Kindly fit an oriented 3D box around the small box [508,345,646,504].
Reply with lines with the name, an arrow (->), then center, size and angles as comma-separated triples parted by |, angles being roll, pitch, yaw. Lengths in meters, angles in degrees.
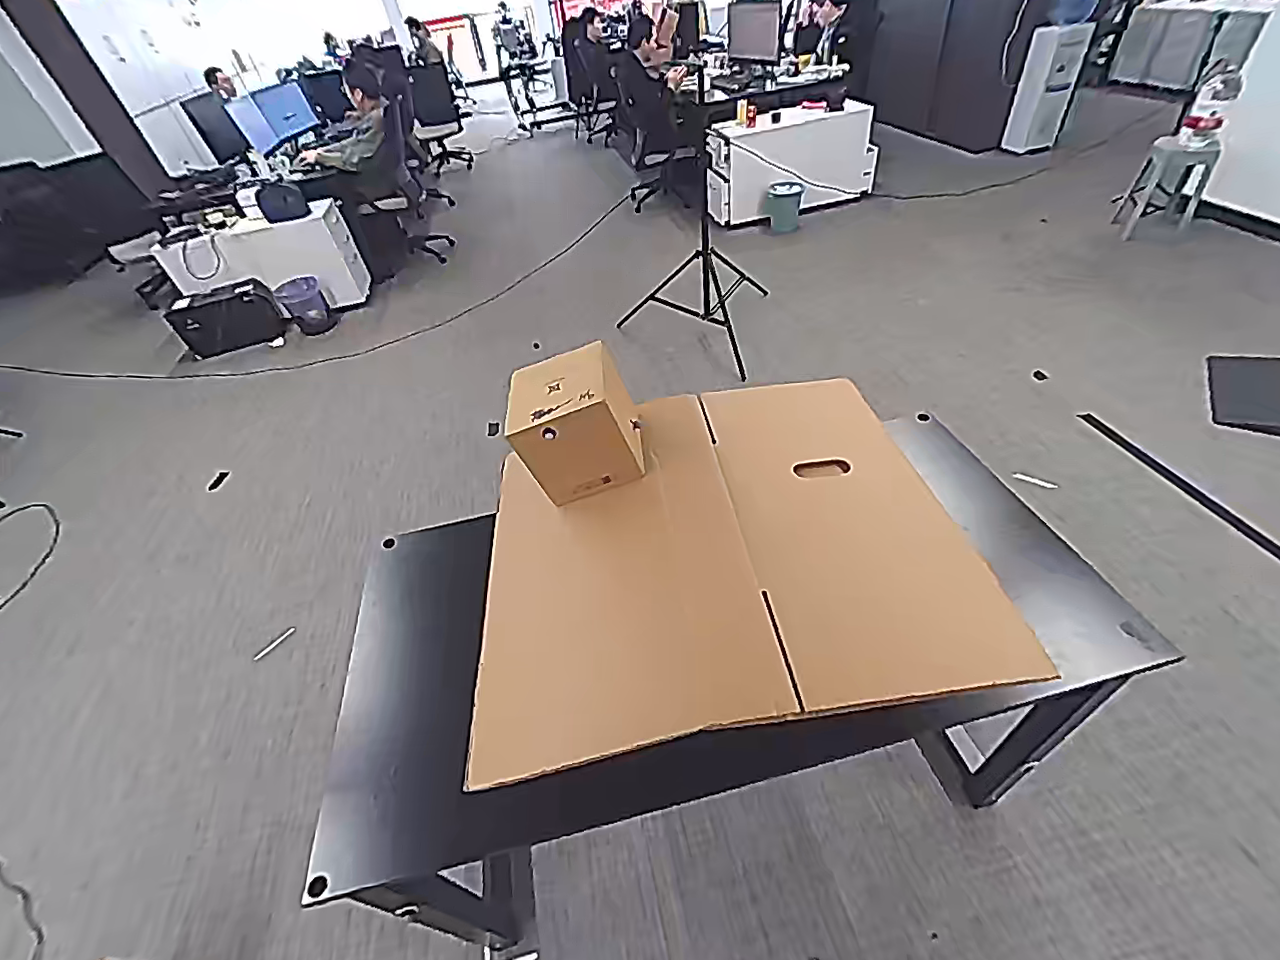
small box -> -0.099, -0.090, 0.903 | 0.168, 0.176, 0.179 | -19, 41, 11
